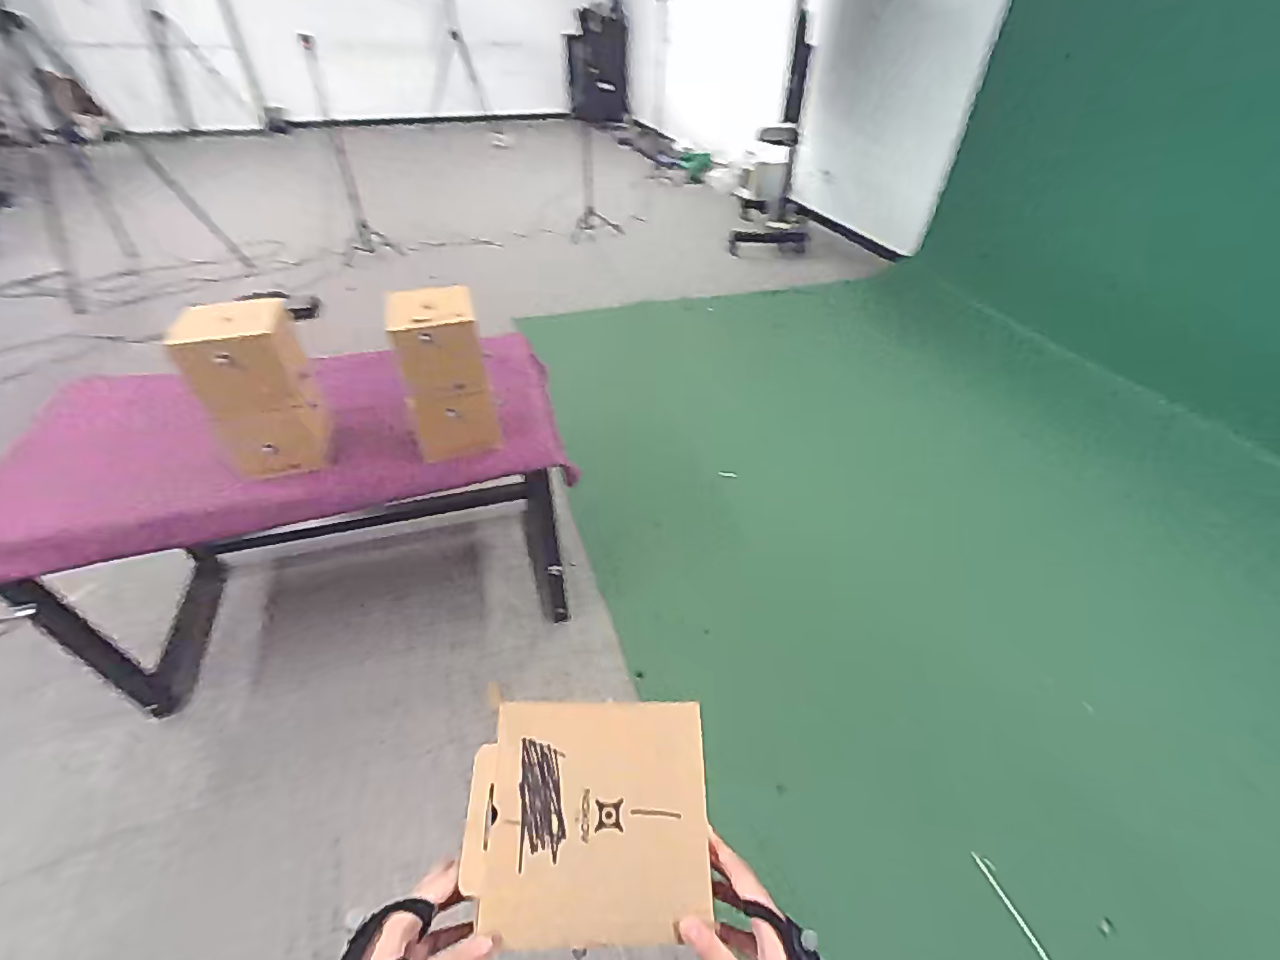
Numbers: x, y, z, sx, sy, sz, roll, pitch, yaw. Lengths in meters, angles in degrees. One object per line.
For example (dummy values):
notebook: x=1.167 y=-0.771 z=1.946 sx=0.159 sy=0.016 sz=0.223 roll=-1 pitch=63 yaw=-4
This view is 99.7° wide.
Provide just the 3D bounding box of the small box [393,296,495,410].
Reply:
small box: x=-0.419 y=-0.274 z=1.164 sx=0.168 sy=0.176 sz=0.179 roll=-14 pitch=43 yaw=-12

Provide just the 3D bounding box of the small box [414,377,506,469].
small box: x=-0.419 y=-0.150 z=1.272 sx=0.179 sy=0.176 sz=0.168 roll=-14 pitch=44 yaw=-13

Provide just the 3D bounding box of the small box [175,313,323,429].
small box: x=-0.786 y=-0.221 z=1.109 sx=0.179 sy=0.176 sz=0.168 roll=-12 pitch=43 yaw=-13

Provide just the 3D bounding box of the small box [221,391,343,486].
small box: x=-0.792 y=-0.101 z=1.219 sx=0.168 sy=0.176 sz=0.179 roll=-12 pitch=42 yaw=-13

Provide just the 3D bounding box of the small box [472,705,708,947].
small box: x=-0.041 y=0.311 z=0.502 sx=0.179 sy=0.176 sz=0.168 roll=0 pitch=59 yaw=-4
